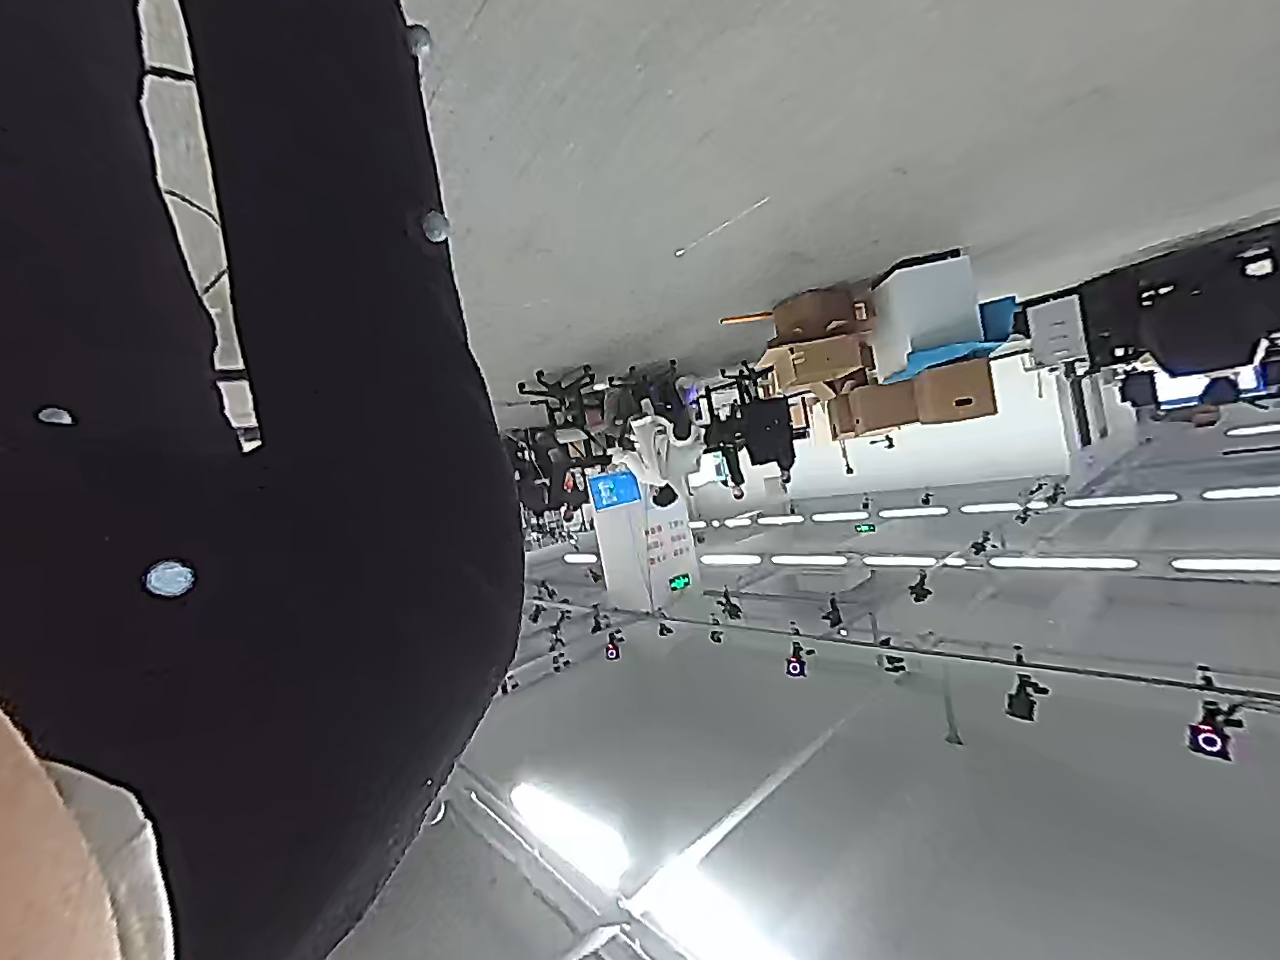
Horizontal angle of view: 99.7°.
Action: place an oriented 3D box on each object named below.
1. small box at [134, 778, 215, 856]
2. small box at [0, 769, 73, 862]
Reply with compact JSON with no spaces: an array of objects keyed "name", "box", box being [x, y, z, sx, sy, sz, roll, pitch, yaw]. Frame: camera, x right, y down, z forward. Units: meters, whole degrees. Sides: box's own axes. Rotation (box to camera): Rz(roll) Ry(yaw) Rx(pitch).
[{"name":"small box","box":[-1.564,1.100,1.817,0.179,0.176,0.168,-13,-176,-42]},{"name":"small box","box":[-1.835,0.990,1.609,0.168,0.176,0.179,-8,-176,45]}]
